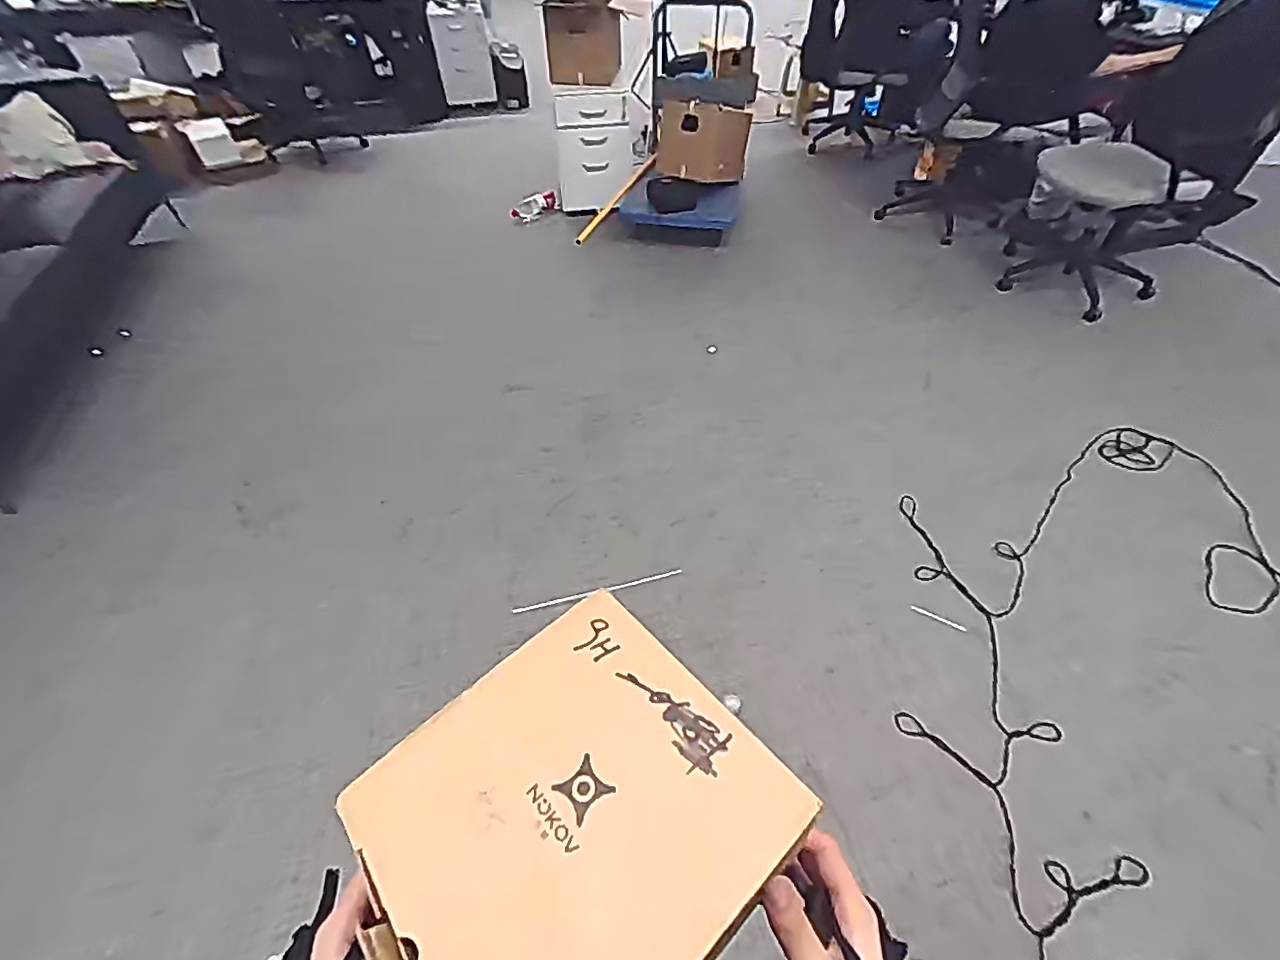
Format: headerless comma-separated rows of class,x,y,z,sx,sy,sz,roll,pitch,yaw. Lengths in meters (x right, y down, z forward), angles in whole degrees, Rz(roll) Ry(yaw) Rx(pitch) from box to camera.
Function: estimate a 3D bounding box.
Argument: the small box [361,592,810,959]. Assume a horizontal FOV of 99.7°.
small box,-0.022,0.212,0.329,0.179,0.176,0.168,-36,53,-24
